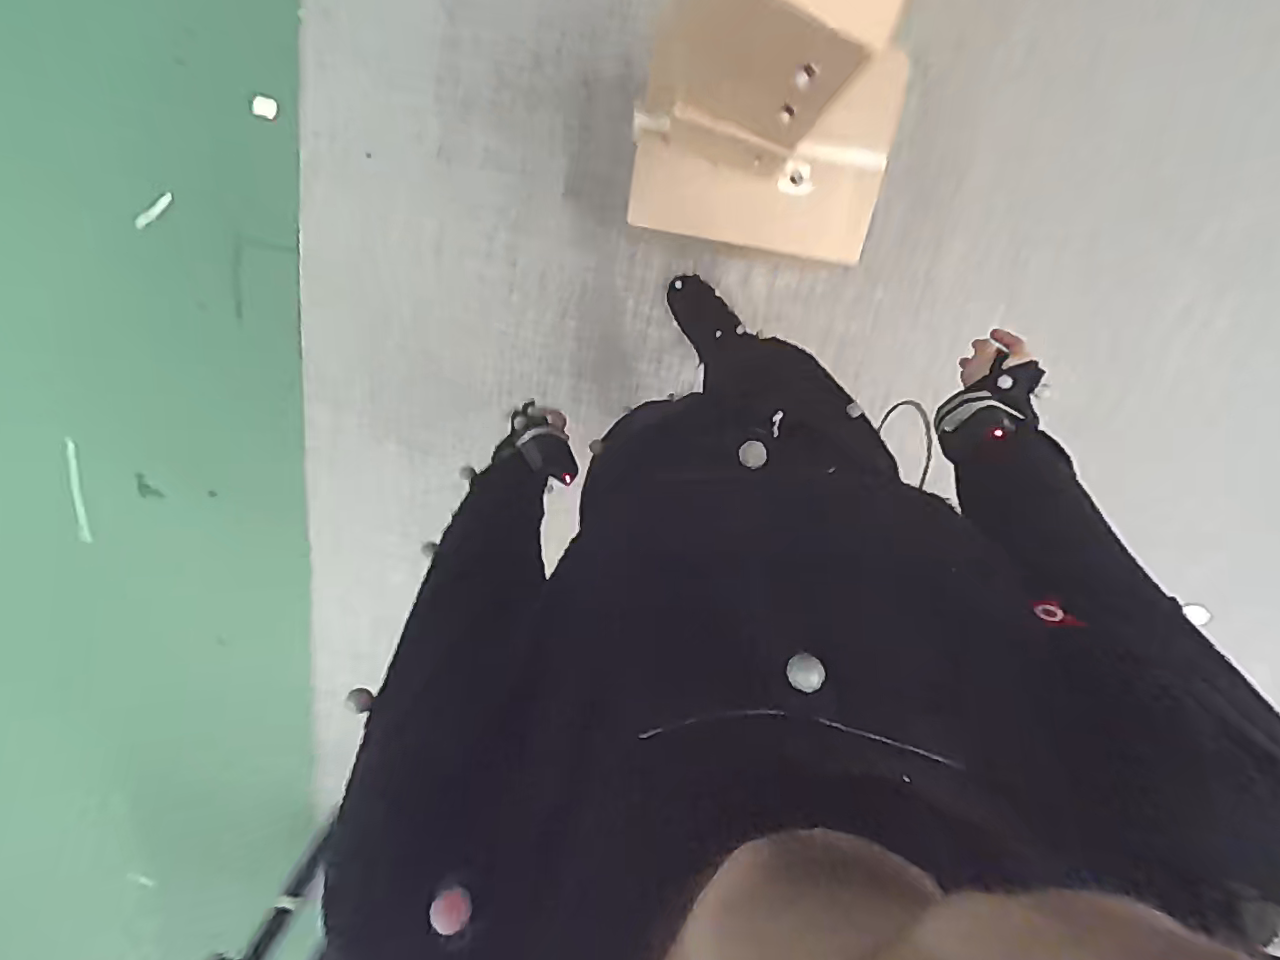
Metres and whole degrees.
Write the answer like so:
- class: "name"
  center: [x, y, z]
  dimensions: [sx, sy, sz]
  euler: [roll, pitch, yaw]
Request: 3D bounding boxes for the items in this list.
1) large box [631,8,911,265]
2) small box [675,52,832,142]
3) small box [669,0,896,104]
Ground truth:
- class: "large box"
  center: [0.204, -0.600, 1.012]
  dimensions: [0.408, 0.320, 0.320]
  euler: [9, 110, 0]
- class: "small box"
  center: [0.146, -0.518, 0.614]
  dimensions: [0.179, 0.176, 0.168]
  euler: [20, 108, -4]
- class: "small box"
  center: [0.134, -0.460, 0.462]
  dimensions: [0.179, 0.176, 0.168]
  euler: [21, 107, -4]
